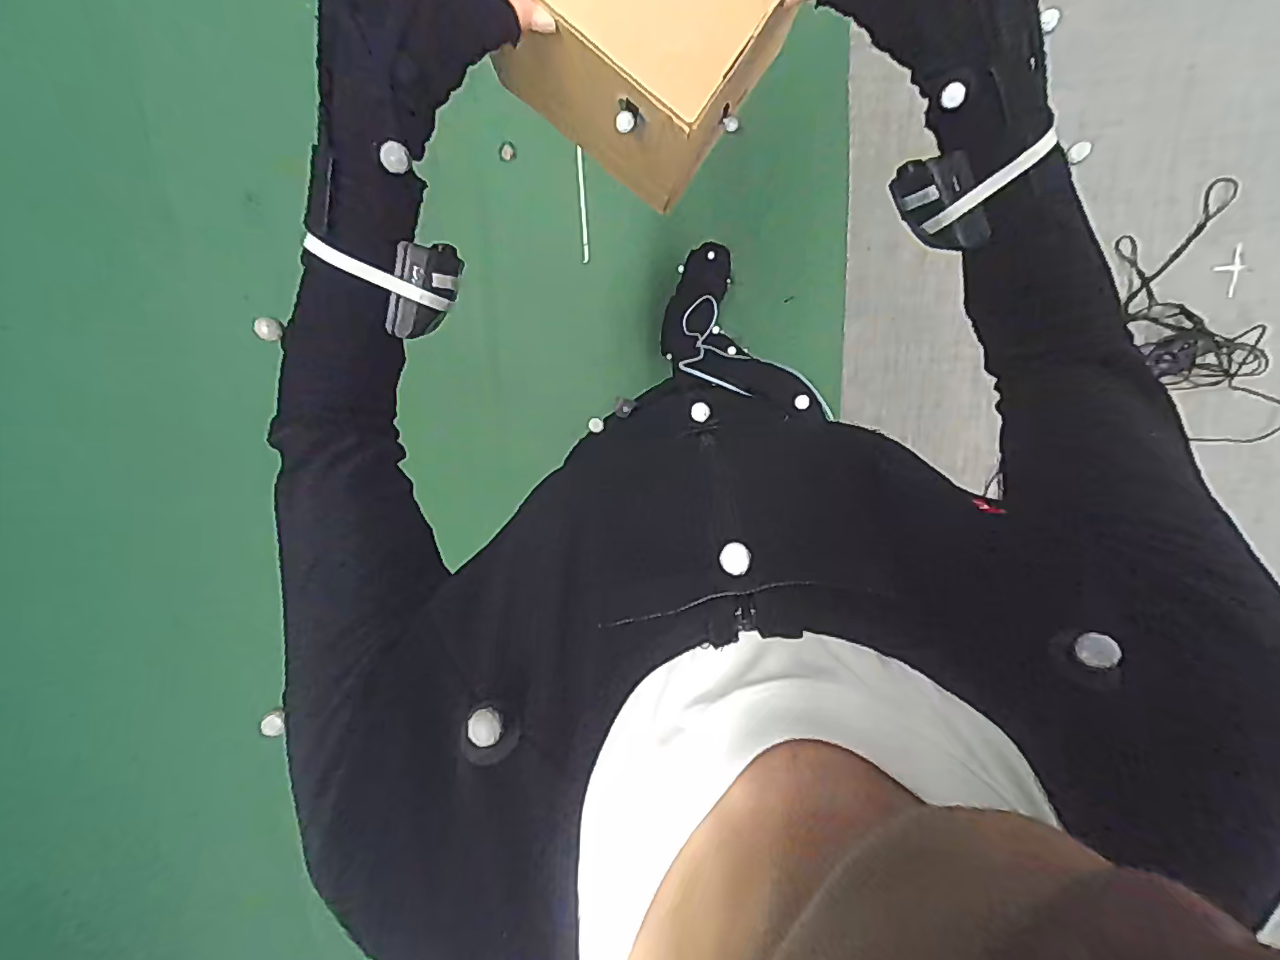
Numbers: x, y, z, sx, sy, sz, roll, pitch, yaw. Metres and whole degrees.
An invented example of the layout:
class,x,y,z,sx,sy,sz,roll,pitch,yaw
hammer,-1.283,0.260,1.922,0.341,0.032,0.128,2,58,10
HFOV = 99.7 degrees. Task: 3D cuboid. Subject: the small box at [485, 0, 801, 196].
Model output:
class,x,y,z,sx,sy,sz,roll,pitch,yaw
small box,0.004,-0.338,0.378,0.179,0.176,0.168,36,96,-10
